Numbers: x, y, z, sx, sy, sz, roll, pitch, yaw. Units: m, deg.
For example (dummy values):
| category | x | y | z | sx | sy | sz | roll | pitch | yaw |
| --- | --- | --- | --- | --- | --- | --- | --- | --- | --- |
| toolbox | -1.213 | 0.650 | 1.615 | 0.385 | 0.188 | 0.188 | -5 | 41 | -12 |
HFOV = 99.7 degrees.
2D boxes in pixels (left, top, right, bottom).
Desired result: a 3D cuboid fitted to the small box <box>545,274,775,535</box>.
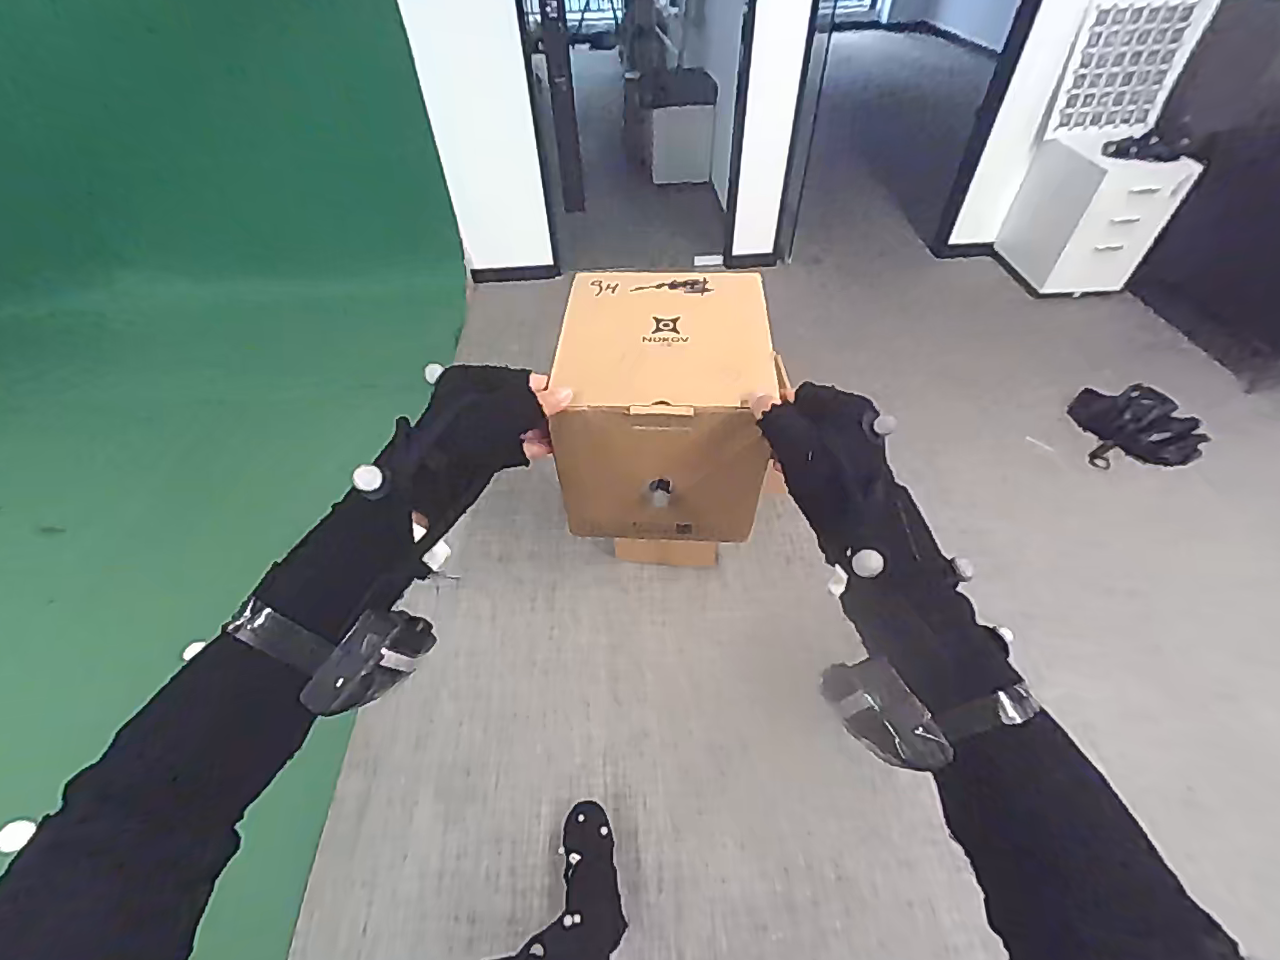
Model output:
| category | x | y | z | sx | sy | sz | roll | pitch | yaw |
| --- | --- | --- | --- | --- | --- | --- | --- | --- | --- |
| small box | 0.022 | -0.064 | 0.489 | 0.168 | 0.176 | 0.179 | 2 | 51 | 3 |
